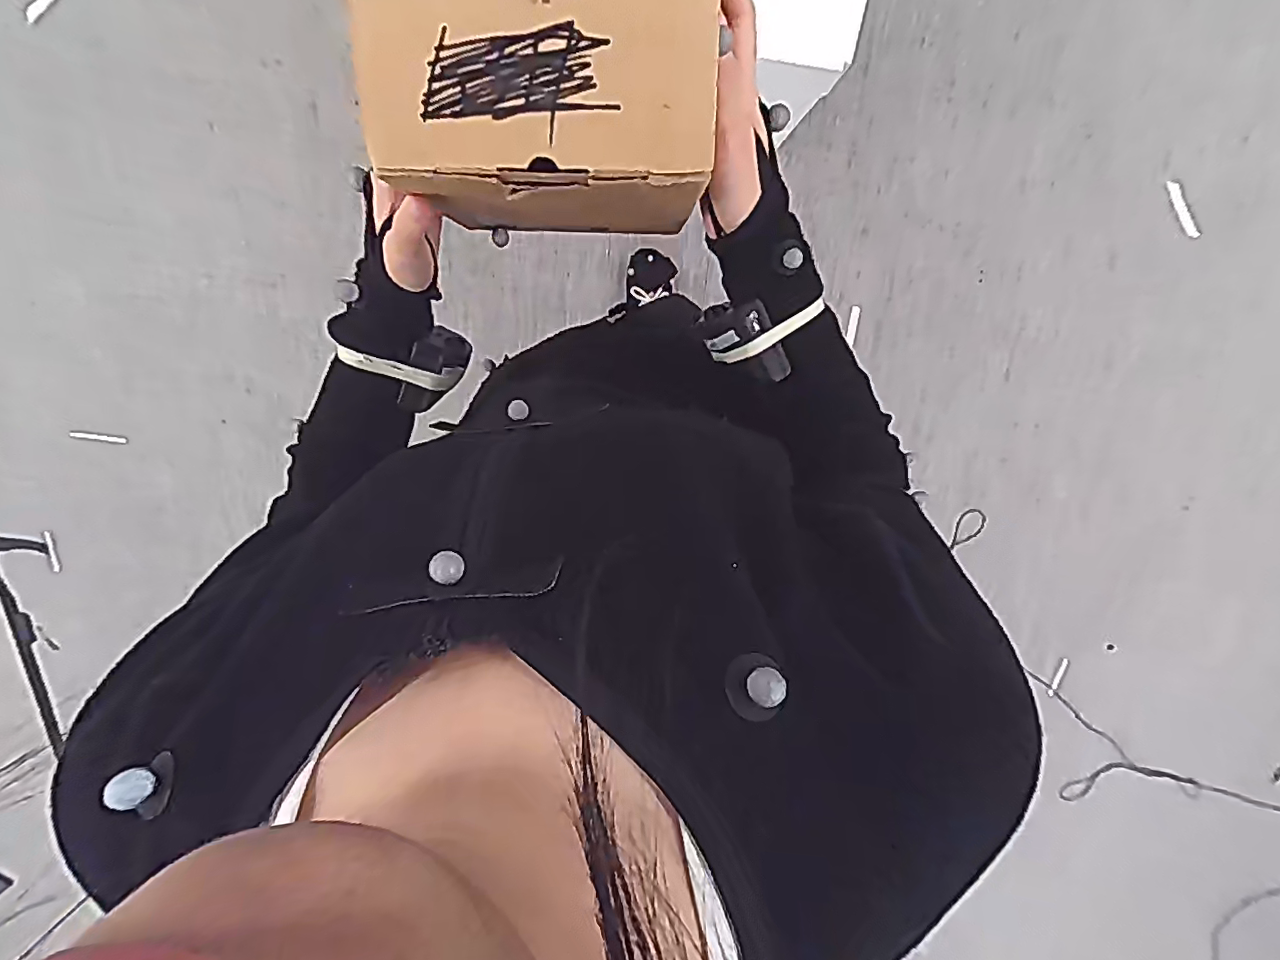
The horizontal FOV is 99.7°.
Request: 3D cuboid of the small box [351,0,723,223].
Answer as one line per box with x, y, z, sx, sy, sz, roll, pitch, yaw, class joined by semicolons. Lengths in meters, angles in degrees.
-0.044;-0.253;0.307;0.168;0.176;0.179;0;106;-2;small box
